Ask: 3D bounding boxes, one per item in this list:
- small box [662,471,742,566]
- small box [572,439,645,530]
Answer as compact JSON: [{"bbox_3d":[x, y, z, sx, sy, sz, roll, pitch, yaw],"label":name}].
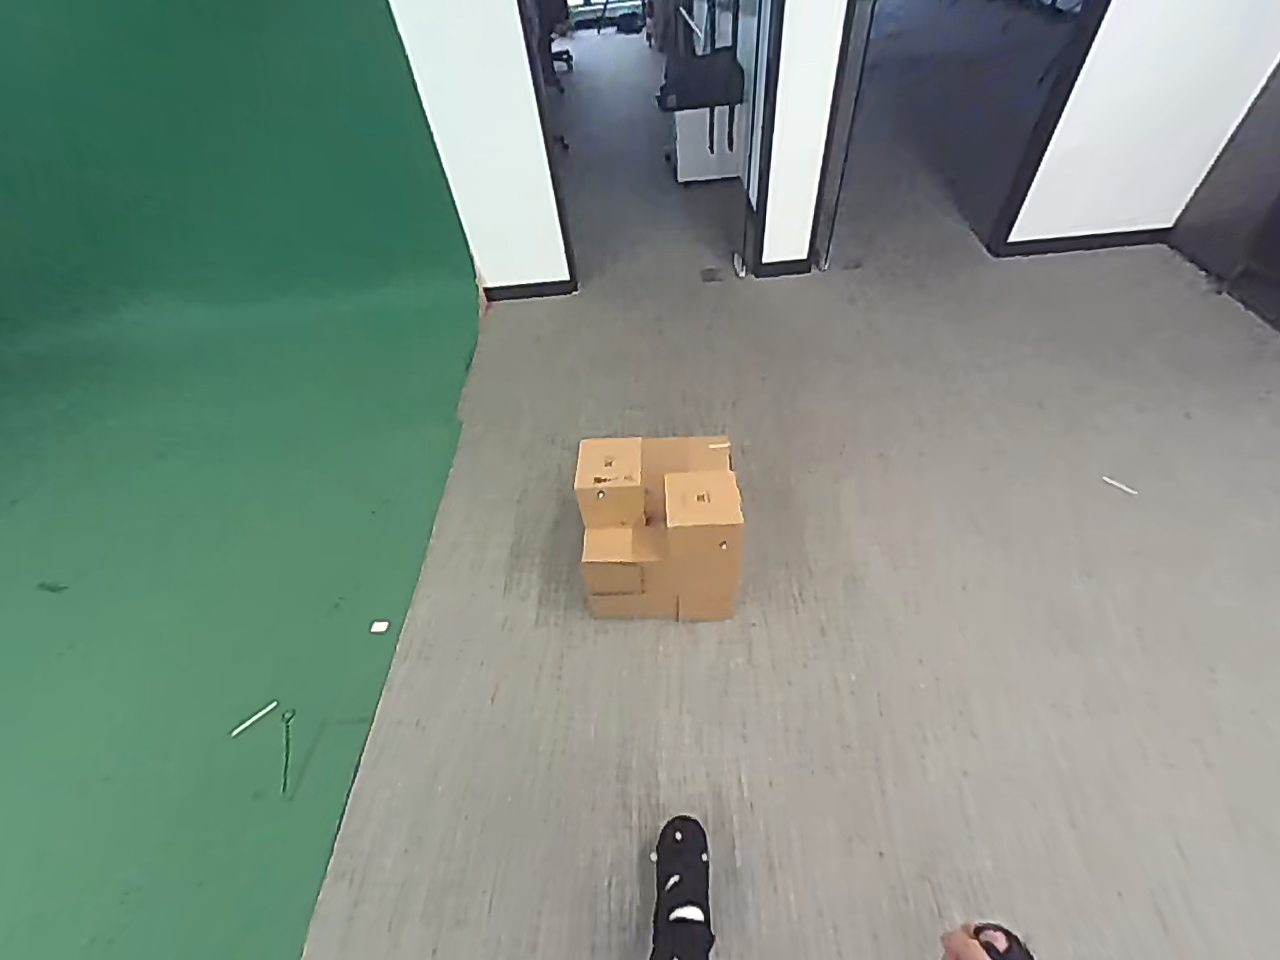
[{"bbox_3d":[0.147,0.097,1.328,0.179,0.176,0.168,-4,47,3],"label":"small box"},{"bbox_3d":[-0.078,0.013,1.429,0.168,0.176,0.179,-3,47,5],"label":"small box"}]
